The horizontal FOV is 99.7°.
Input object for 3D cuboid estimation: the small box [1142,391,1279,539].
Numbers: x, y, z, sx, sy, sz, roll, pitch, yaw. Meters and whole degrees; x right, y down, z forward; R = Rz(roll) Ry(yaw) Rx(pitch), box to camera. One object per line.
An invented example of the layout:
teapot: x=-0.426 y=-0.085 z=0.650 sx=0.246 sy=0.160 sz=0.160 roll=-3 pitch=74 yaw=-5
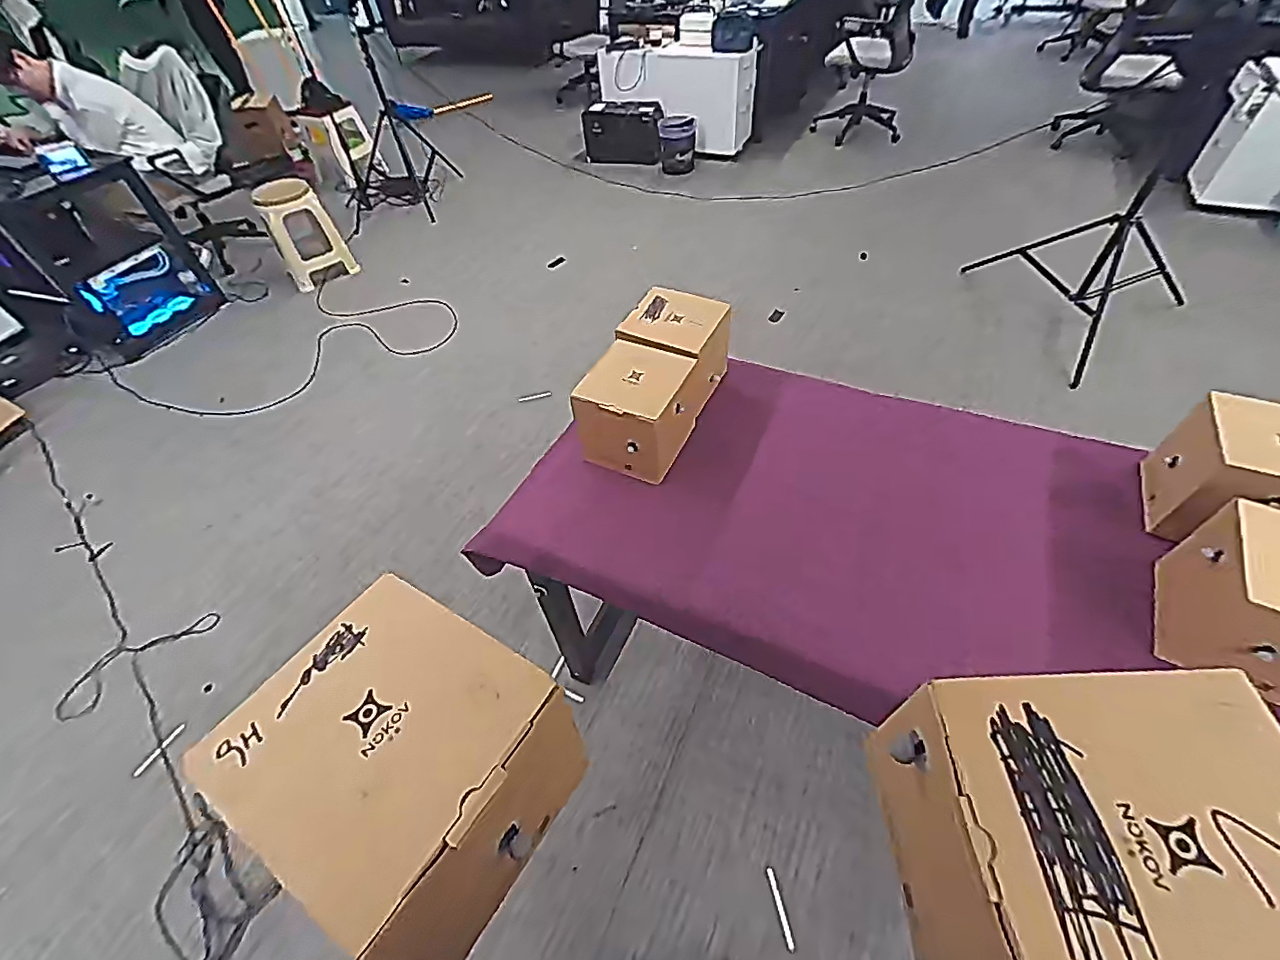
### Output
small box: x=0.904 y=-0.003 z=0.814 sx=0.179 sy=0.176 sz=0.168 roll=20 pitch=55 yaw=19

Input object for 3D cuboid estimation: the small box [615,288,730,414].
small box: x=0.069 y=-0.261 z=1.108 sx=0.179 sy=0.176 sz=0.168 roll=21 pitch=56 yaw=19

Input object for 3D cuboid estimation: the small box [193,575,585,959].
small box: x=-0.157 y=0.210 z=0.402 sx=0.179 sy=0.176 sz=0.168 roll=24 pitch=52 yaw=22

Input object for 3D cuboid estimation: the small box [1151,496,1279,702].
small box: x=0.807 y=0.158 z=0.694 sx=0.168 sy=0.176 sz=0.179 roll=22 pitch=54 yaw=23
